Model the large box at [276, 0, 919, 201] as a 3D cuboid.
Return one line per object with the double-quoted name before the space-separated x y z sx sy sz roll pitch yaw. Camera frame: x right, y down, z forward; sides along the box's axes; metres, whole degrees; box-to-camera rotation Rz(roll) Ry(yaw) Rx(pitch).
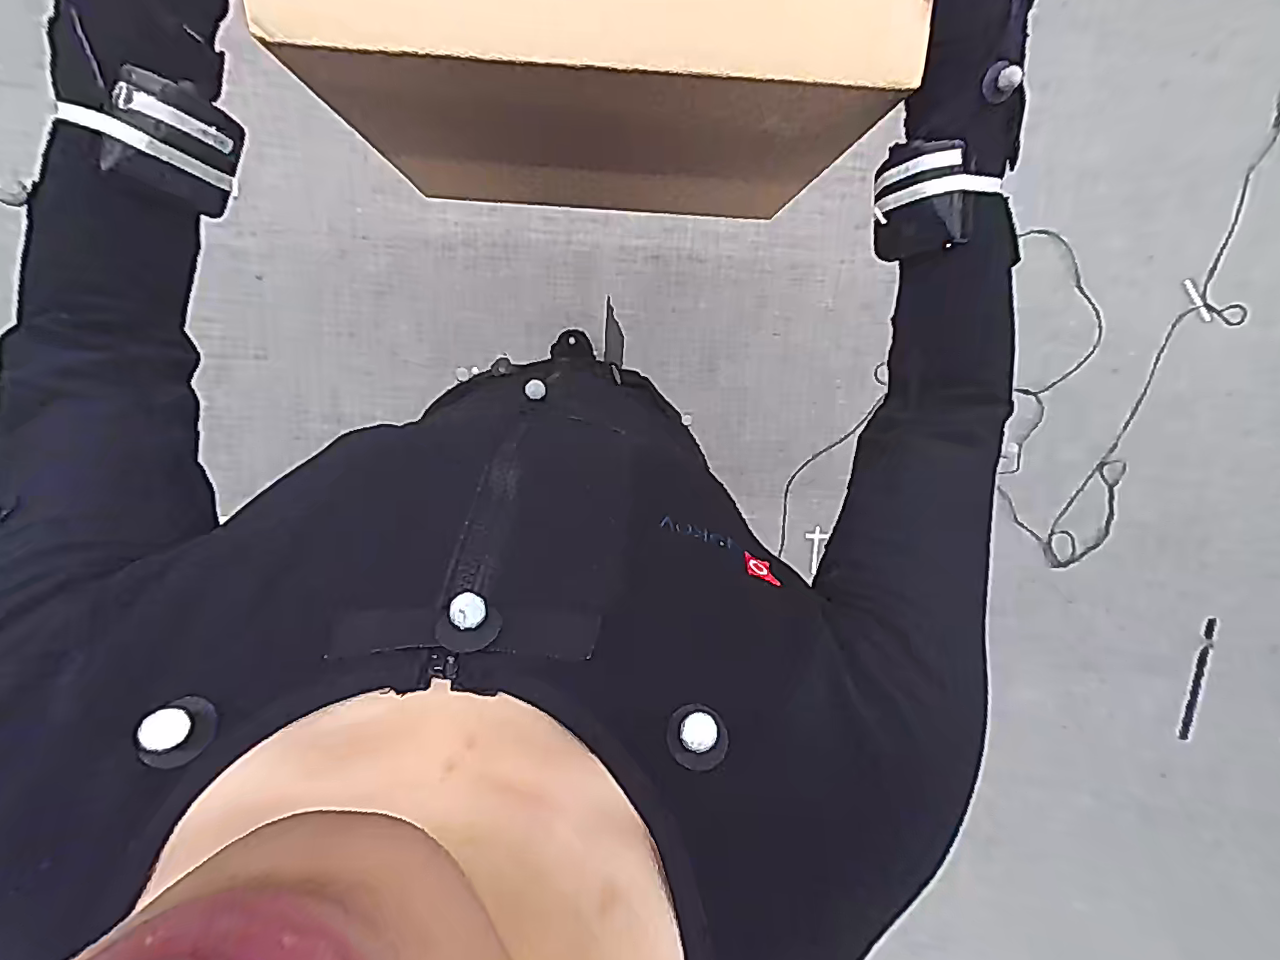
"large box" -0.028 -0.448 0.452 0.408 0.320 0.320 1 103 -5
